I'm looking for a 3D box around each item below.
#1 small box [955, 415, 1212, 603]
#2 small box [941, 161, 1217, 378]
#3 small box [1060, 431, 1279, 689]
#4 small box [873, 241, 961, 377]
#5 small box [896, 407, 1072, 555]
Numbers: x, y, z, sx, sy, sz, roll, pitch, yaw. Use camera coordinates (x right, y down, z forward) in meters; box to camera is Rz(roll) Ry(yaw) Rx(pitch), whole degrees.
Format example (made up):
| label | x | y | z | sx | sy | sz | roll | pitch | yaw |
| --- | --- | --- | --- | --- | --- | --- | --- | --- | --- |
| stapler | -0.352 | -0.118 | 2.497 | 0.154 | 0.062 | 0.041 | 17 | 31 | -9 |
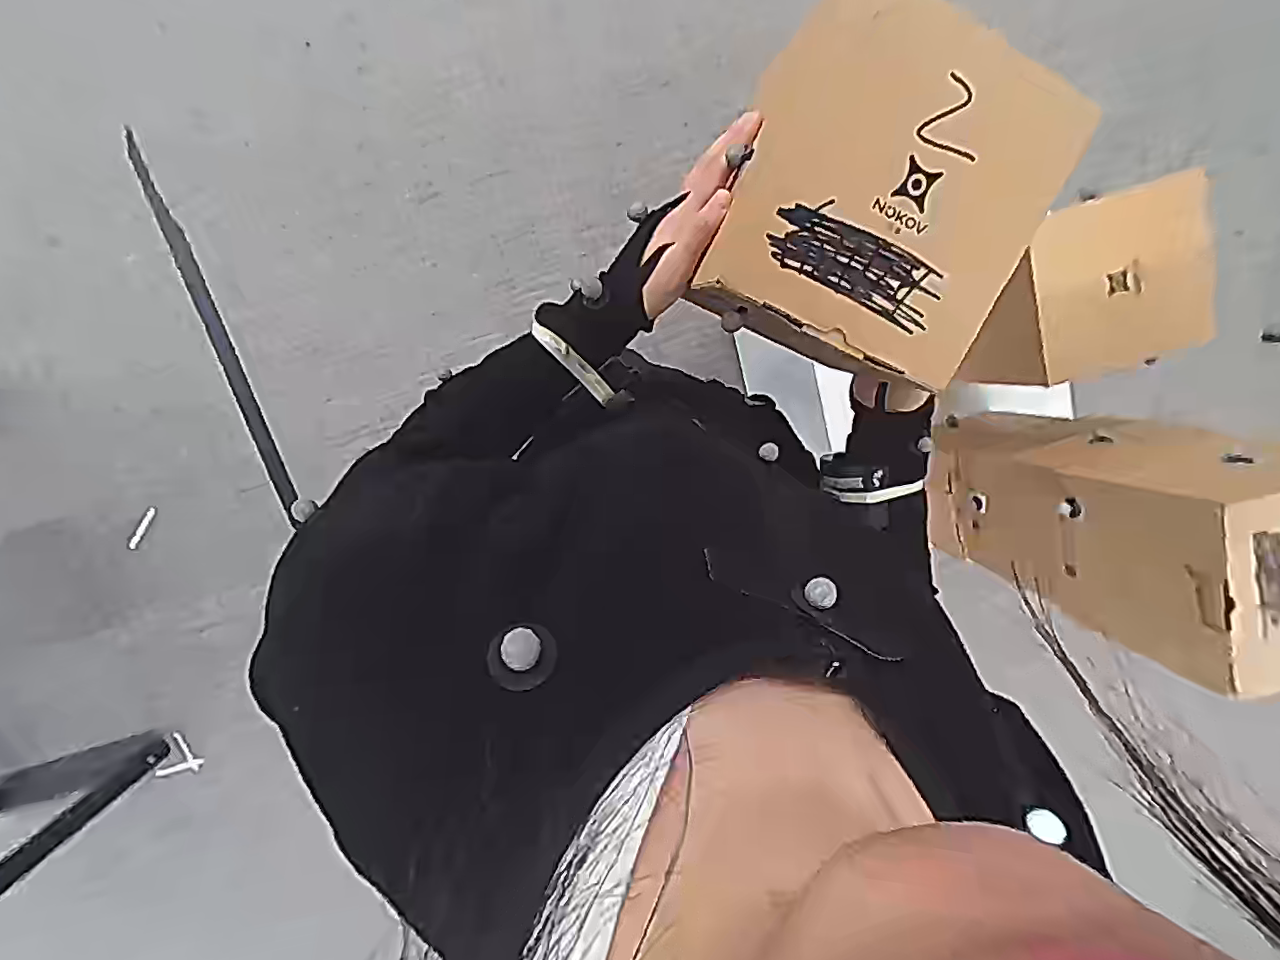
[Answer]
| label | x | y | z | sx | sy | sz | roll | pitch | yaw |
| --- | --- | --- | --- | --- | --- | --- | --- | --- | --- |
| small box | 0.522 | 0.023 | 0.653 | 0.179 | 0.176 | 0.168 | -14 | 101 | 2 |
| small box | 0.464 | -0.215 | 0.602 | 0.179 | 0.176 | 0.168 | -17 | 102 | 1 |
| small box | 0.524 | 0.057 | 0.492 | 0.179 | 0.176 | 0.168 | -13 | 100 | -1 |
| small box | 0.462 | -0.252 | 0.760 | 0.179 | 0.176 | 0.168 | -18 | 102 | 2 |
| small box | 0.508 | -0.007 | 0.812 | 0.179 | 0.176 | 0.168 | -15 | 102 | 3 |
